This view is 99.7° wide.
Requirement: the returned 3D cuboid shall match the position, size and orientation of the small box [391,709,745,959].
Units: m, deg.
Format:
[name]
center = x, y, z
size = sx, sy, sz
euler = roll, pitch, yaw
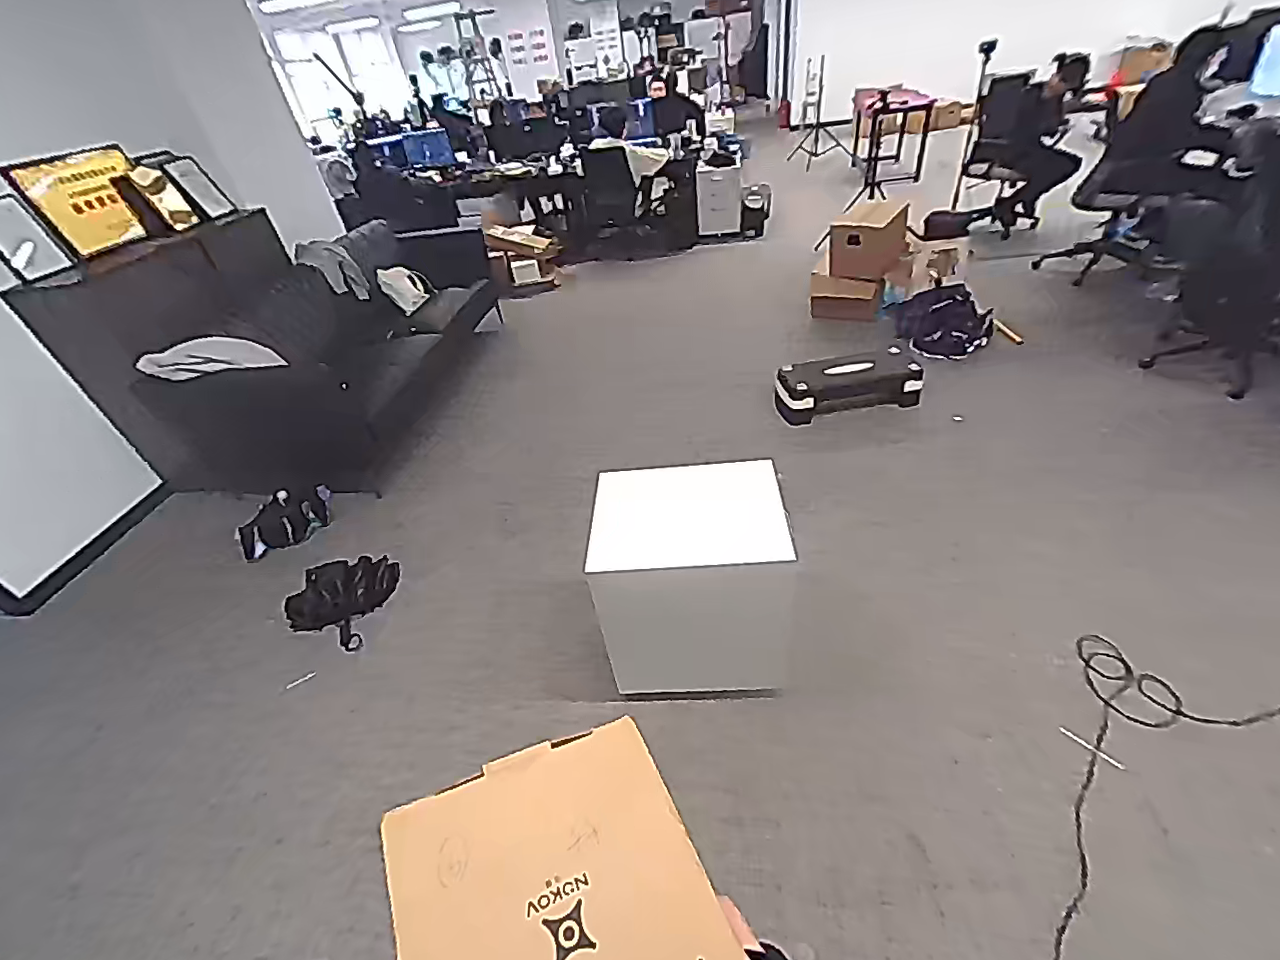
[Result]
[small box]
center = -0.058, 0.293, 0.355
size = 0.168, 0.176, 0.179
euler = -11, 46, -26
